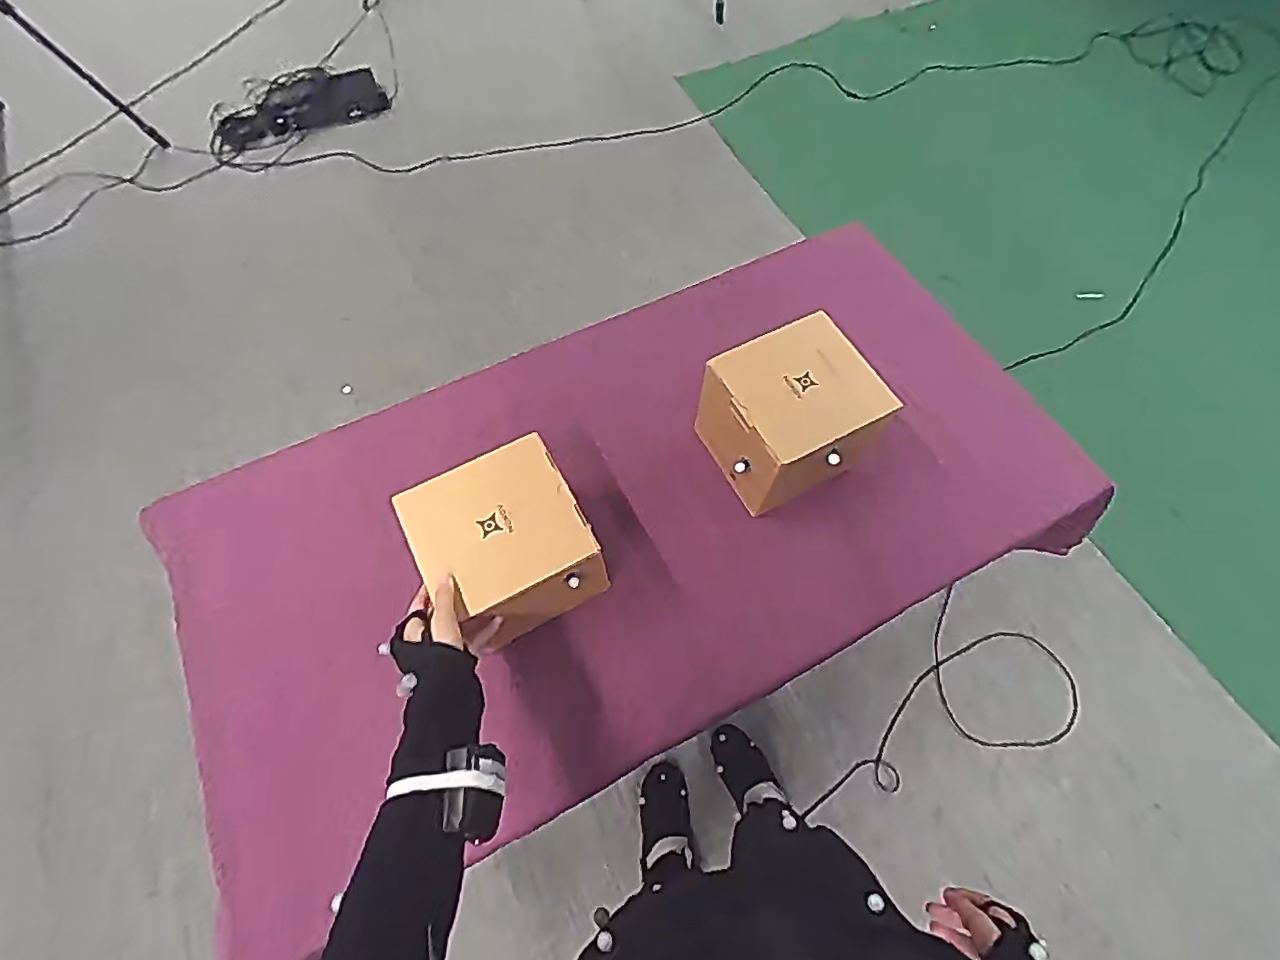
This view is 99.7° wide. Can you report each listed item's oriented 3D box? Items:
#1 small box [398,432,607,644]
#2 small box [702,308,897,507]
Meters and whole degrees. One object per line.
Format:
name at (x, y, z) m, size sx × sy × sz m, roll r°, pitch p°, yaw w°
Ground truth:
small box at (-0.154, 0.078, 0.655) m, size 0.179 × 0.176 × 0.168 m, roll -28°, pitch 68°, yaw -12°
small box at (0.195, -0.088, 0.725) m, size 0.179 × 0.176 × 0.168 m, roll -26°, pitch 68°, yaw -11°
